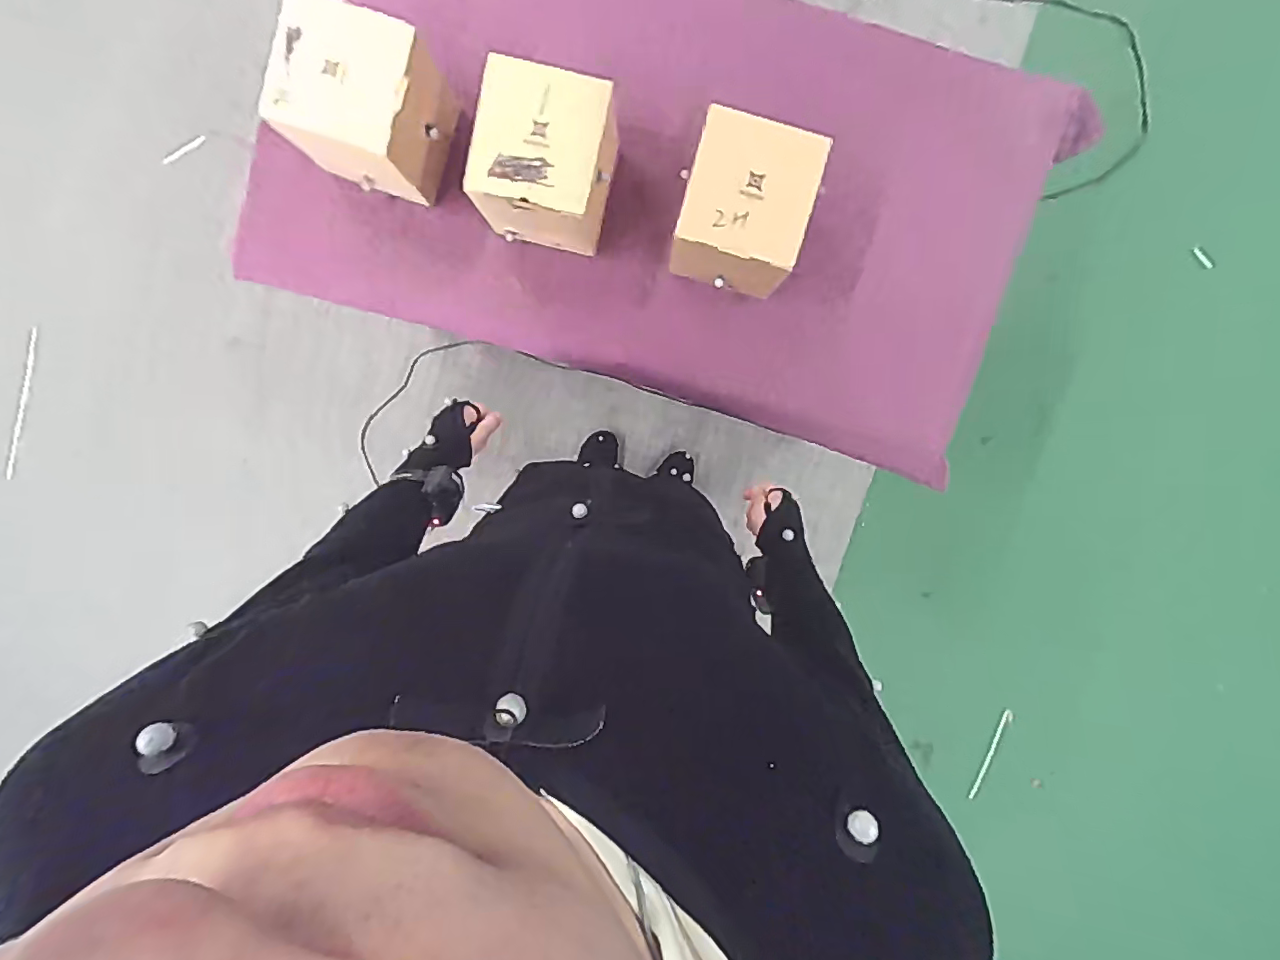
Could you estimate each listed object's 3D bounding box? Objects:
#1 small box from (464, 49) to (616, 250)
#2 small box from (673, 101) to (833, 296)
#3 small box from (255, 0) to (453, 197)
[{"bbox_3d":[-0.132,-0.454,0.775,0.168,0.176,0.179,13,95,-2],"label":"small box"},{"bbox_3d":[0.148,-0.390,0.782,0.168,0.176,0.179,16,96,-1],"label":"small box"},{"bbox_3d":[-0.388,-0.532,0.766,0.179,0.176,0.168,18,95,-3],"label":"small box"}]
